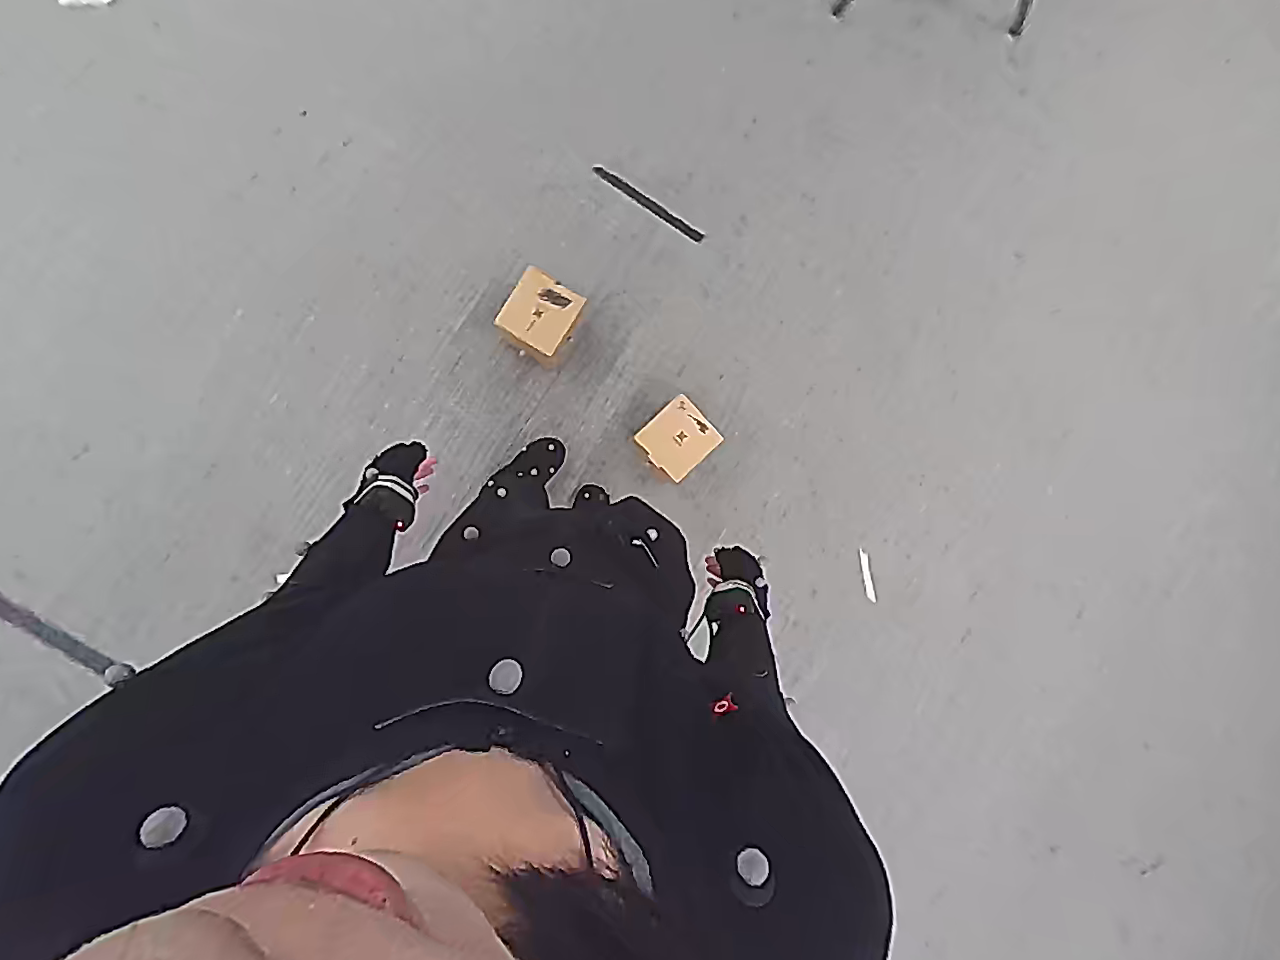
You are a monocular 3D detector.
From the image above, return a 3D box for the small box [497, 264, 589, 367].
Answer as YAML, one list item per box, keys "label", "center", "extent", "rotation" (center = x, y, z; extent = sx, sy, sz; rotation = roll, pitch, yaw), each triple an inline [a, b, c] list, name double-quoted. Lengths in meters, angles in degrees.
- label: "small box"
  center: [-0.250, -0.423, 1.422]
  extent: [0.168, 0.176, 0.179]
  rotation: [32, 87, -5]

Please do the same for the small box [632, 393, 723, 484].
- label: "small box"
  center: [0.092, -0.105, 1.457]
  extent: [0.179, 0.176, 0.168]
  rotation: [-42, 94, -4]
